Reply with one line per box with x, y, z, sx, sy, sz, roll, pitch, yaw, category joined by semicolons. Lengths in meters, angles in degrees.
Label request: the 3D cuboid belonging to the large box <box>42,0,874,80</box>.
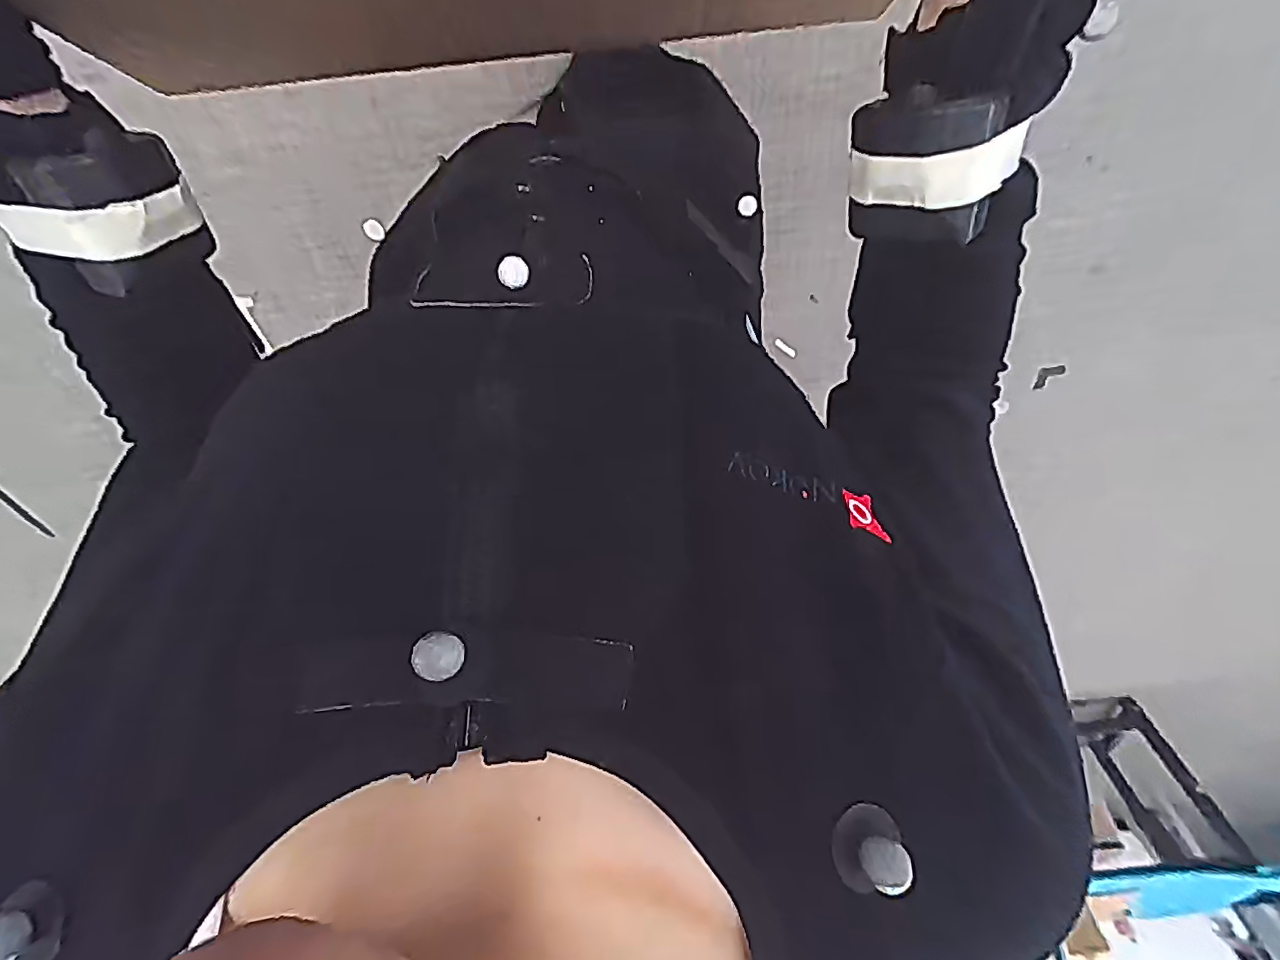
-0.080;-0.361;0.124;0.408;0.320;0.320;-5;103;1;large box
